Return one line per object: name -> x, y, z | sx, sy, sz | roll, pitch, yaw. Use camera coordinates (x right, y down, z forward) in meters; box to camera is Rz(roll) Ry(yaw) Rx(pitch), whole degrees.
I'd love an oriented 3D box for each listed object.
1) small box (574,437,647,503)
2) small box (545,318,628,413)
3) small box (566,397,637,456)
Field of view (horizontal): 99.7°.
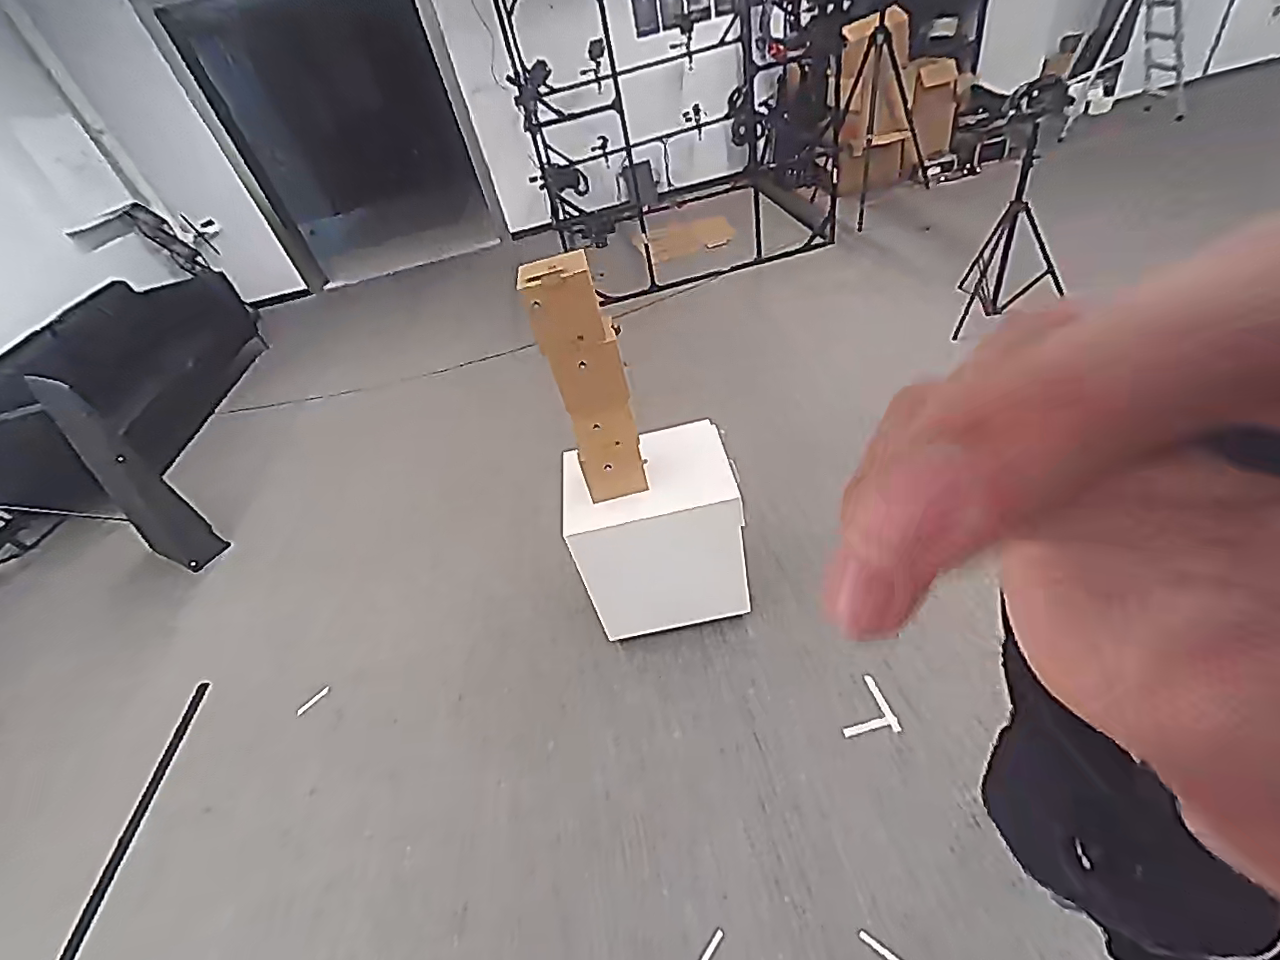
small box -> -0.088, -0.053, 1.624 | 0.179, 0.176, 0.168 | -14, 41, 0
small box -> -0.139, -0.295, 1.410 | 0.179, 0.176, 0.168 | -14, 40, 1
small box -> -0.110, -0.184, 1.530 | 0.168, 0.176, 0.179 | -14, 39, 1
